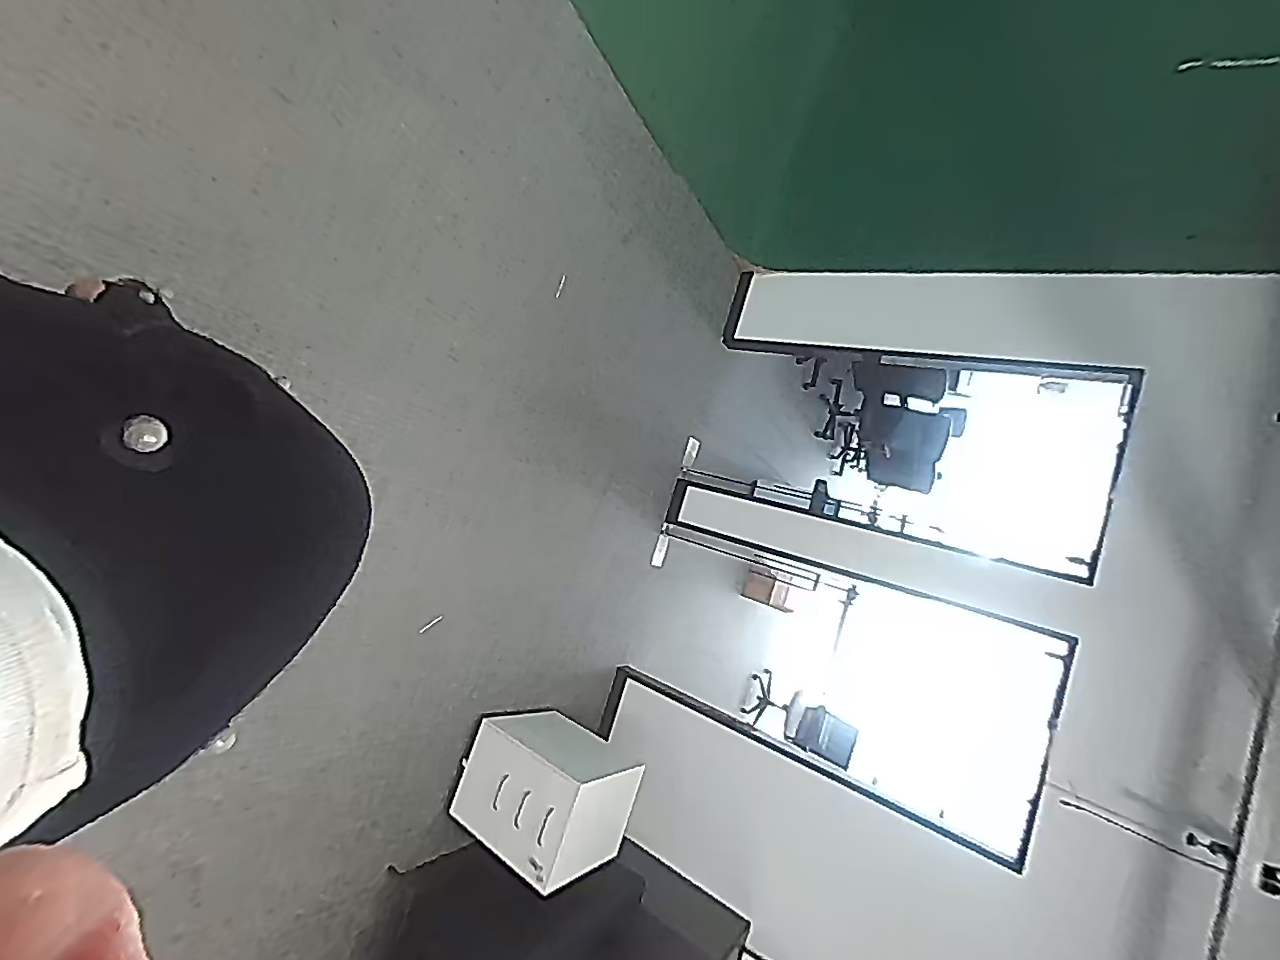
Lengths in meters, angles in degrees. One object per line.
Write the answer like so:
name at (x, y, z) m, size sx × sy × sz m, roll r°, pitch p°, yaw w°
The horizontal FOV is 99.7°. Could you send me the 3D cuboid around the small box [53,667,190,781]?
small box at (-1.193, 0.549, 1.242) m, size 0.168 × 0.176 × 0.179 m, roll 29°, pitch 78°, yaw -58°
